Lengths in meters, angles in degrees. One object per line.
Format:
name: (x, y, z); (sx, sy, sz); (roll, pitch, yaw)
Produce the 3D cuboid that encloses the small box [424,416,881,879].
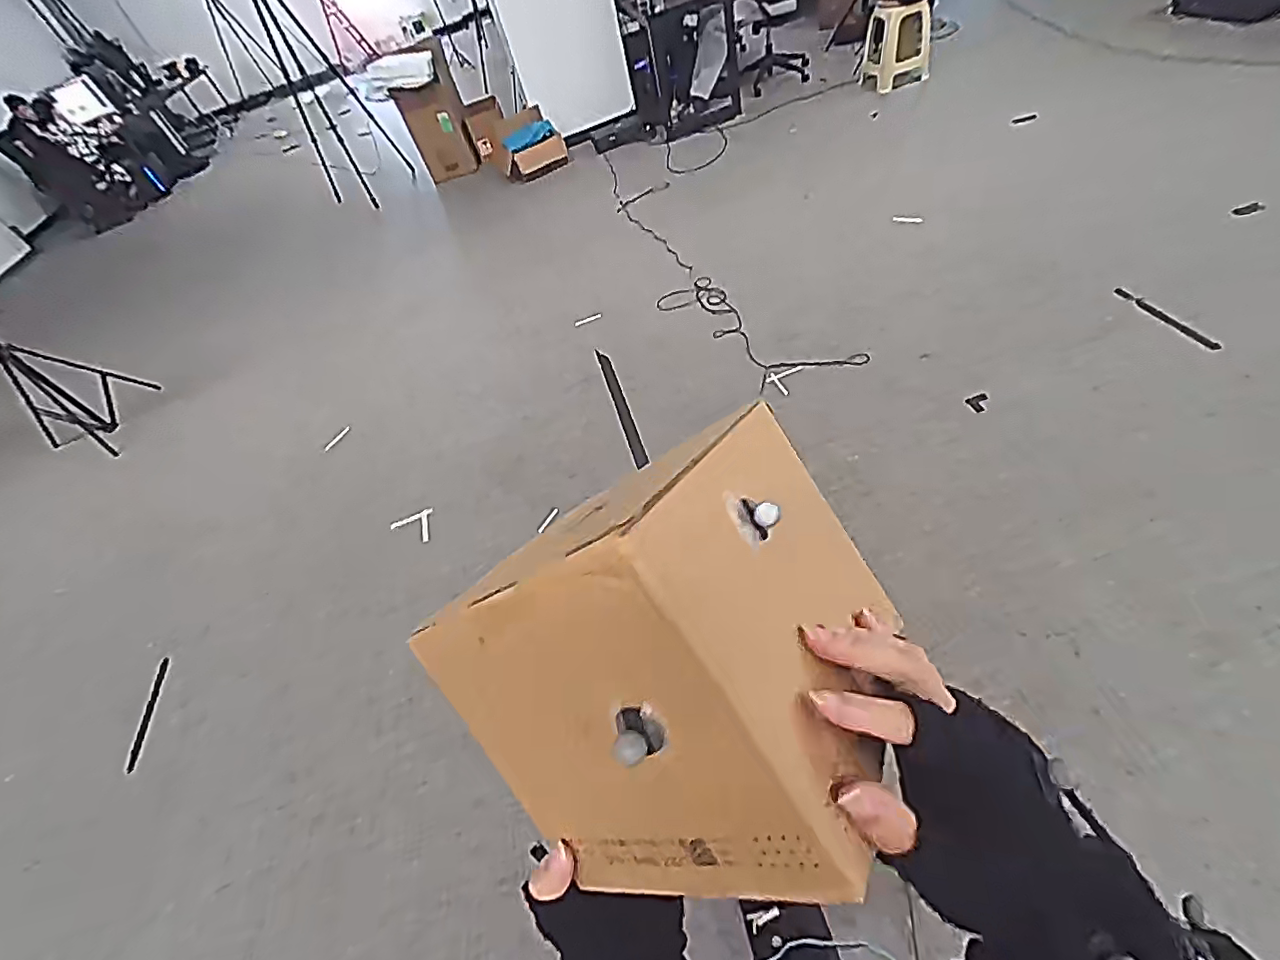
small box: (0.019, 0.093, 0.321); (0.168, 0.176, 0.179); (-30, 5, 38)
